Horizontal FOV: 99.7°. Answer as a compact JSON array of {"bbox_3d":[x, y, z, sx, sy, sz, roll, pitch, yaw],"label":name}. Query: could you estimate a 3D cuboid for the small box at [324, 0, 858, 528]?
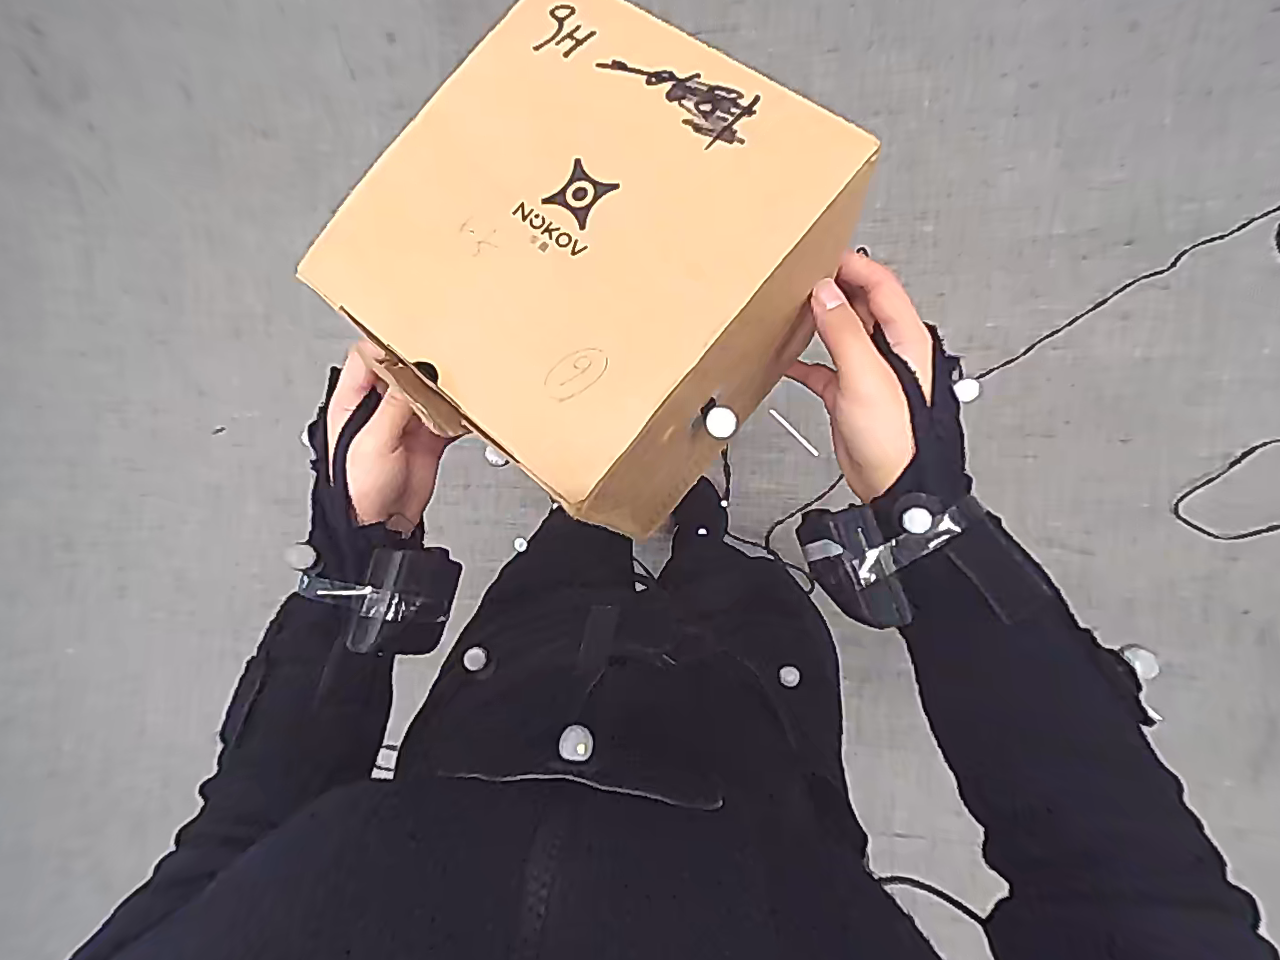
[{"bbox_3d":[-0.014,-0.089,0.300,0.168,0.176,0.179,39,89,13],"label":"small box"}]
